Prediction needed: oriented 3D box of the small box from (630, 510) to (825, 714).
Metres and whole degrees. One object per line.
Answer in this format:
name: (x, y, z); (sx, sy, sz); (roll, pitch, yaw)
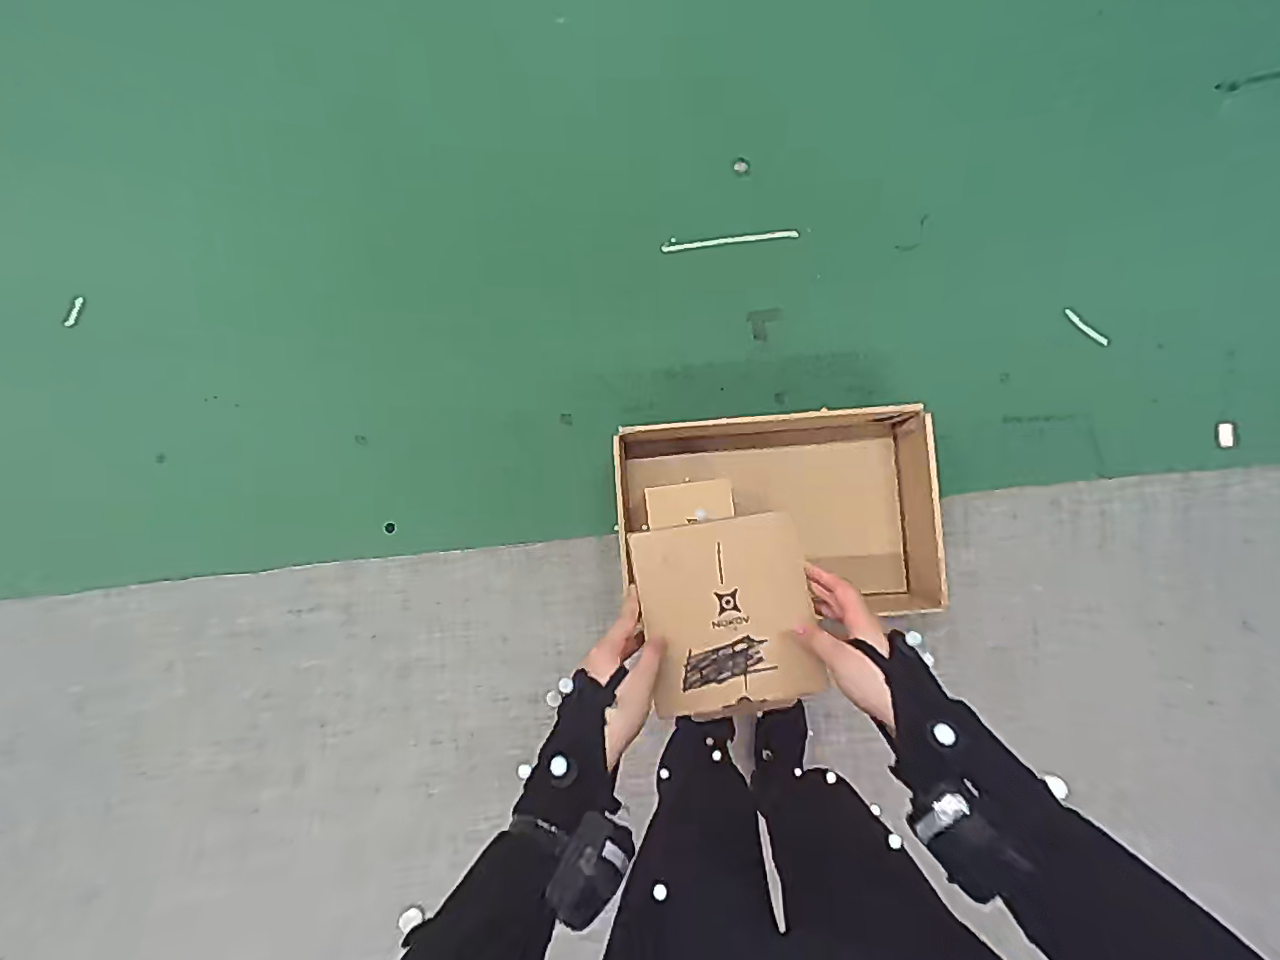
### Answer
small box: (0.082, 0.131, 0.594); (0.168, 0.176, 0.179); (-8, 84, -3)

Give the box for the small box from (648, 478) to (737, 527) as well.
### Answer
small box: (0.106, 0.095, 1.095); (0.168, 0.176, 0.179); (-7, 87, 3)
